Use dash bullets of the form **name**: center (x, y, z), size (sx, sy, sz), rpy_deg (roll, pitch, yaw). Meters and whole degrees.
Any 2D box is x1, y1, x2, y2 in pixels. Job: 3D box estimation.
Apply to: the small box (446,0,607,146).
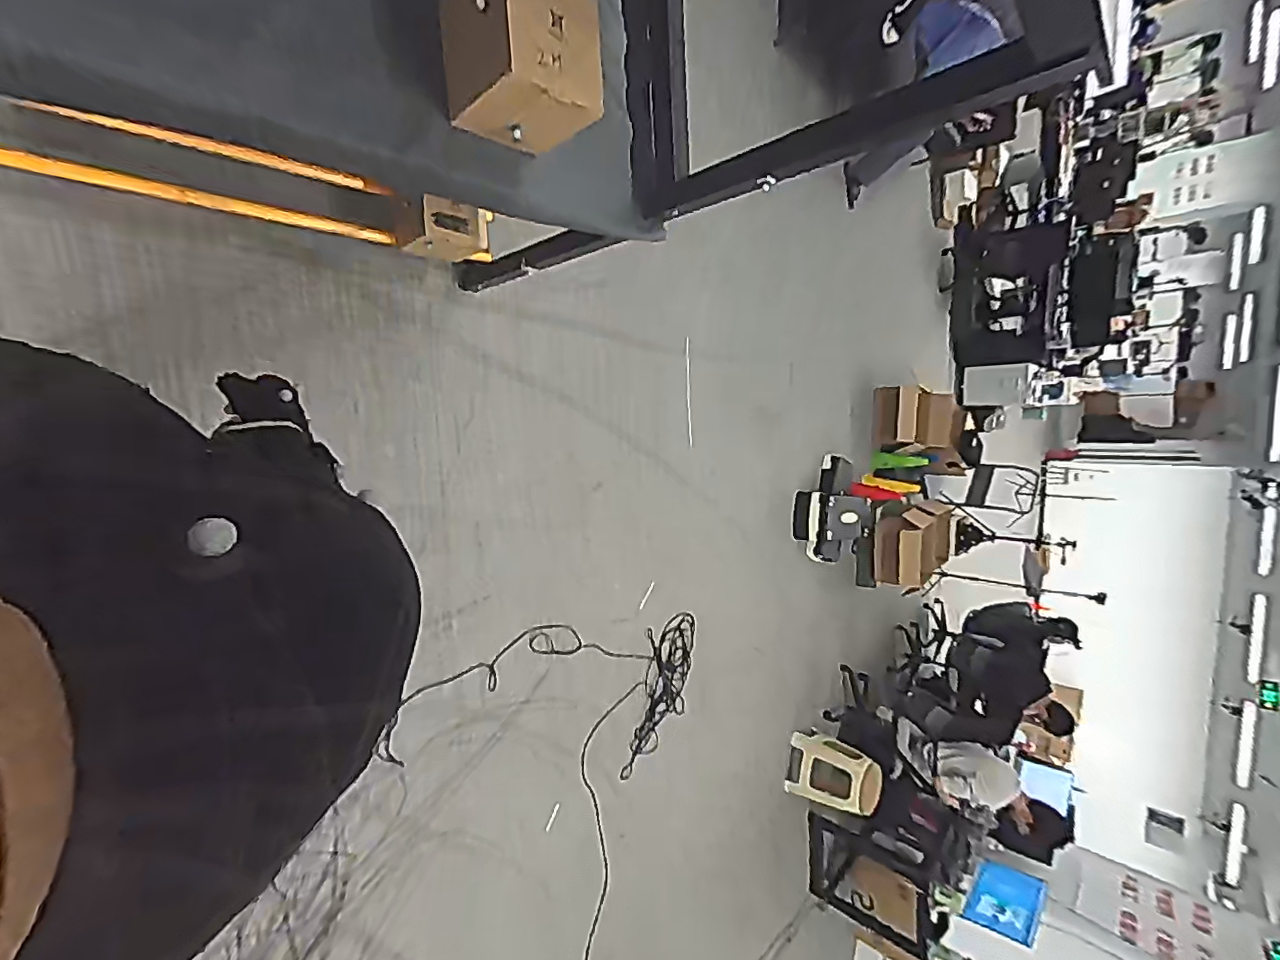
- **small box**: center (-0.169, -0.637, 0.797), size (0.168, 0.176, 0.179), rpy_deg (-10, 100, -45)
